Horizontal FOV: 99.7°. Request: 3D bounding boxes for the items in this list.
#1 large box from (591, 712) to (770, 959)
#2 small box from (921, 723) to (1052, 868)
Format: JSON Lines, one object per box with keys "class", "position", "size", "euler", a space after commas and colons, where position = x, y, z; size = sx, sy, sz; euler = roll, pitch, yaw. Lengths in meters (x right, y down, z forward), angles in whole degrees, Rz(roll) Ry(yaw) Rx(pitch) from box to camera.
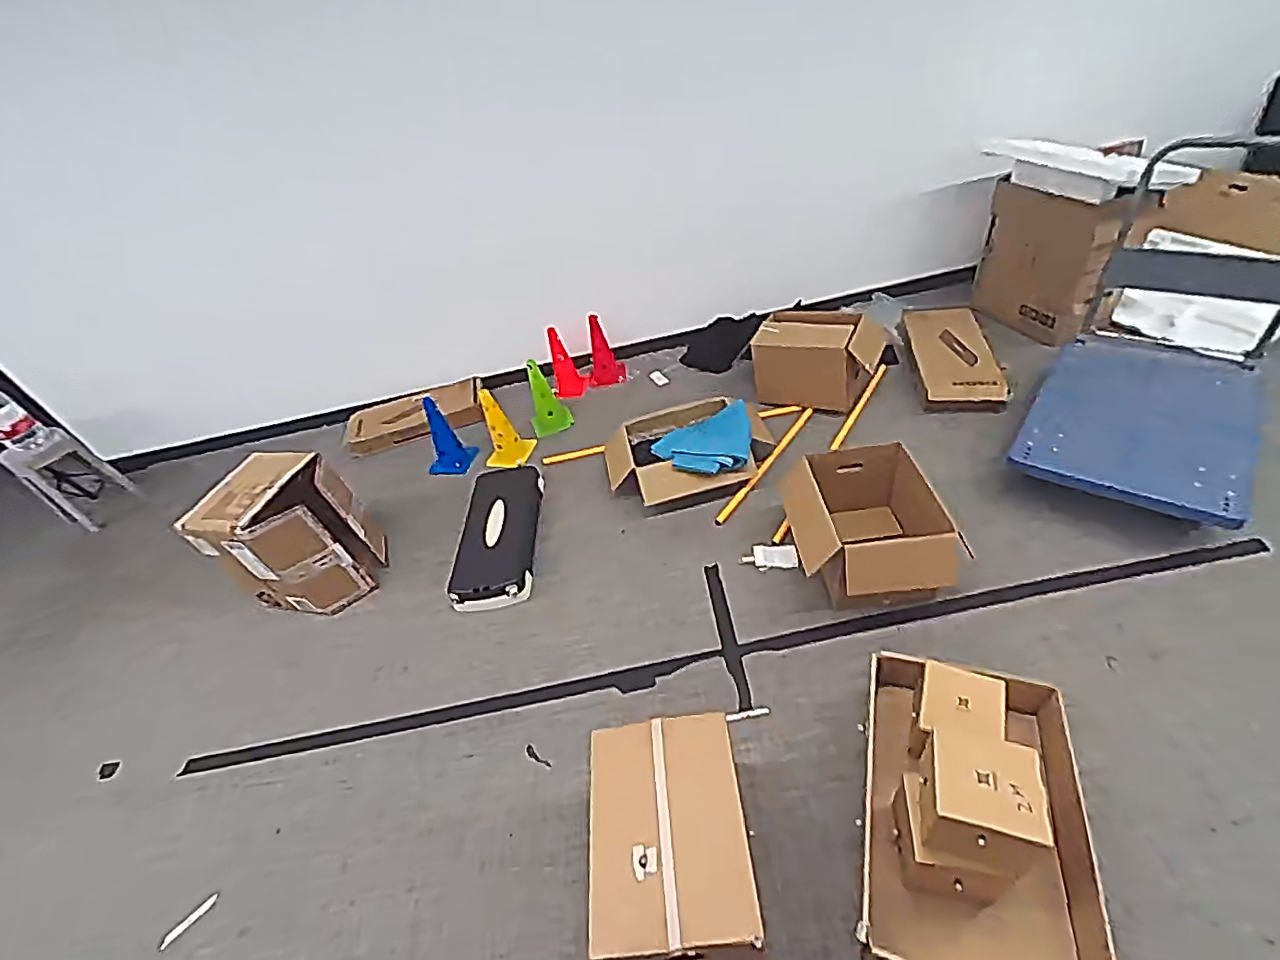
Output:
{"class": "large box", "position": [0.082, 0.785, 1.178], "size": [0.320, 0.320, 0.408], "euler": [-11, 43, 5]}
{"class": "small box", "position": [0.637, 0.595, 1.020], "size": [0.179, 0.176, 0.168], "euler": [7, 43, 21]}
